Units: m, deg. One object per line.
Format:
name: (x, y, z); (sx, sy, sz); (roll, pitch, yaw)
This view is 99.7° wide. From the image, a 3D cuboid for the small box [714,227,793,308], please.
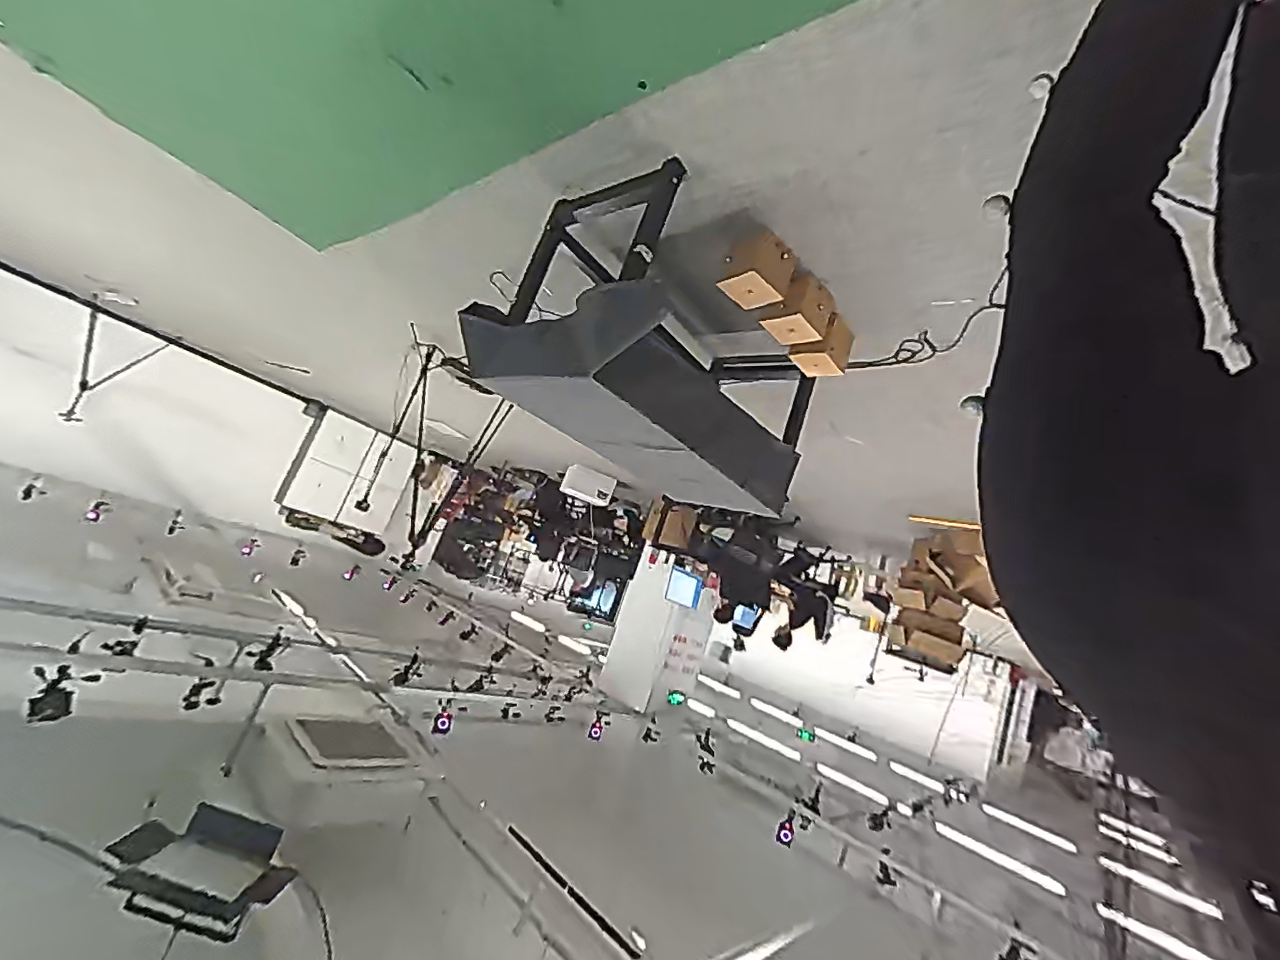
small box: (0.384, -0.710, 1.815); (0.168, 0.176, 0.179); (26, 168, -34)
